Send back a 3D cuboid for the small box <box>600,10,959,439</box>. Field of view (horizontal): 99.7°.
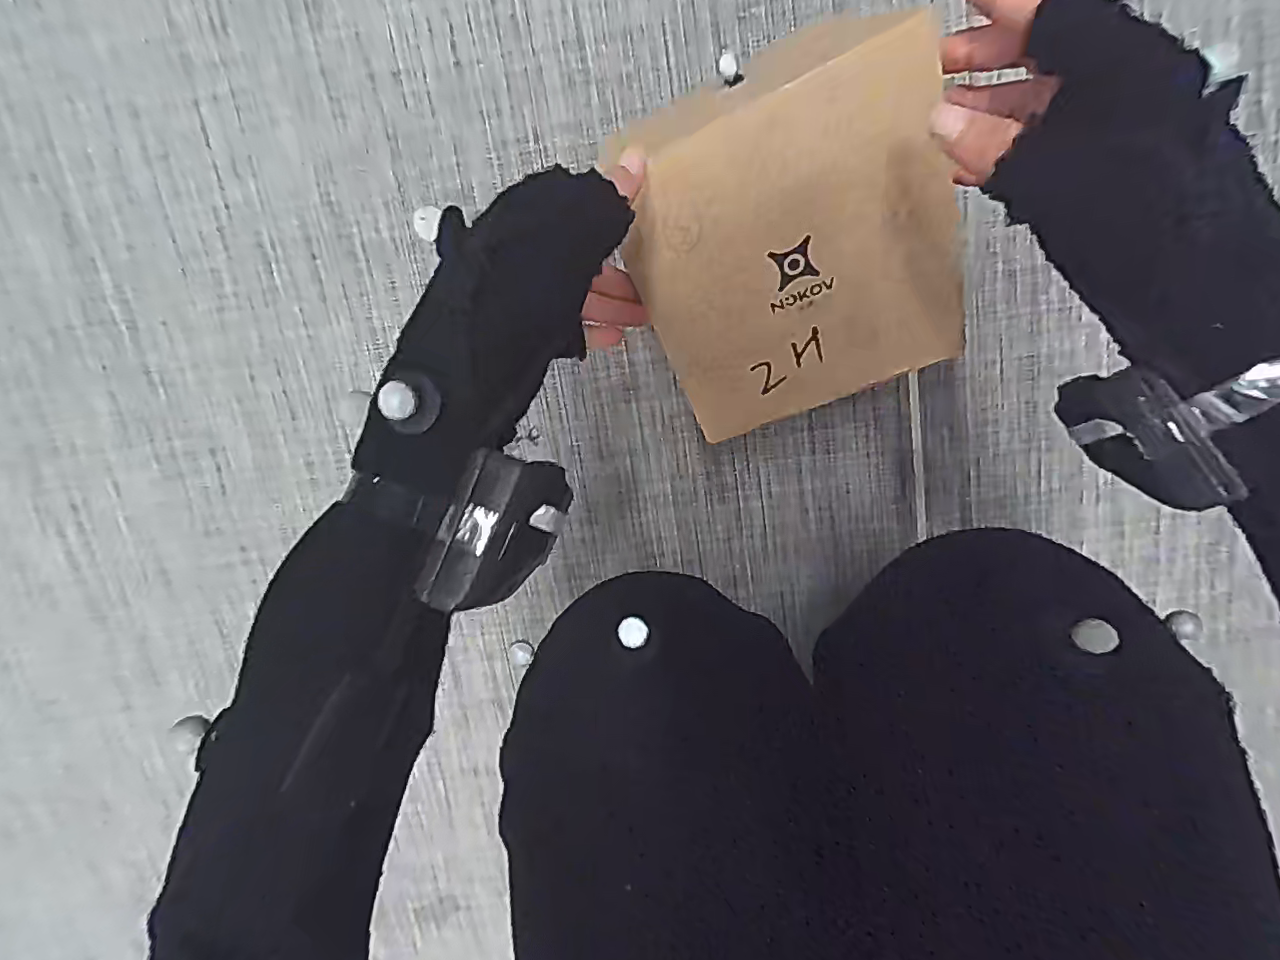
[{"bbox_3d":[0.084,-0.162,0.357,0.168,0.176,0.179,-17,127,15],"label":"small box"}]
